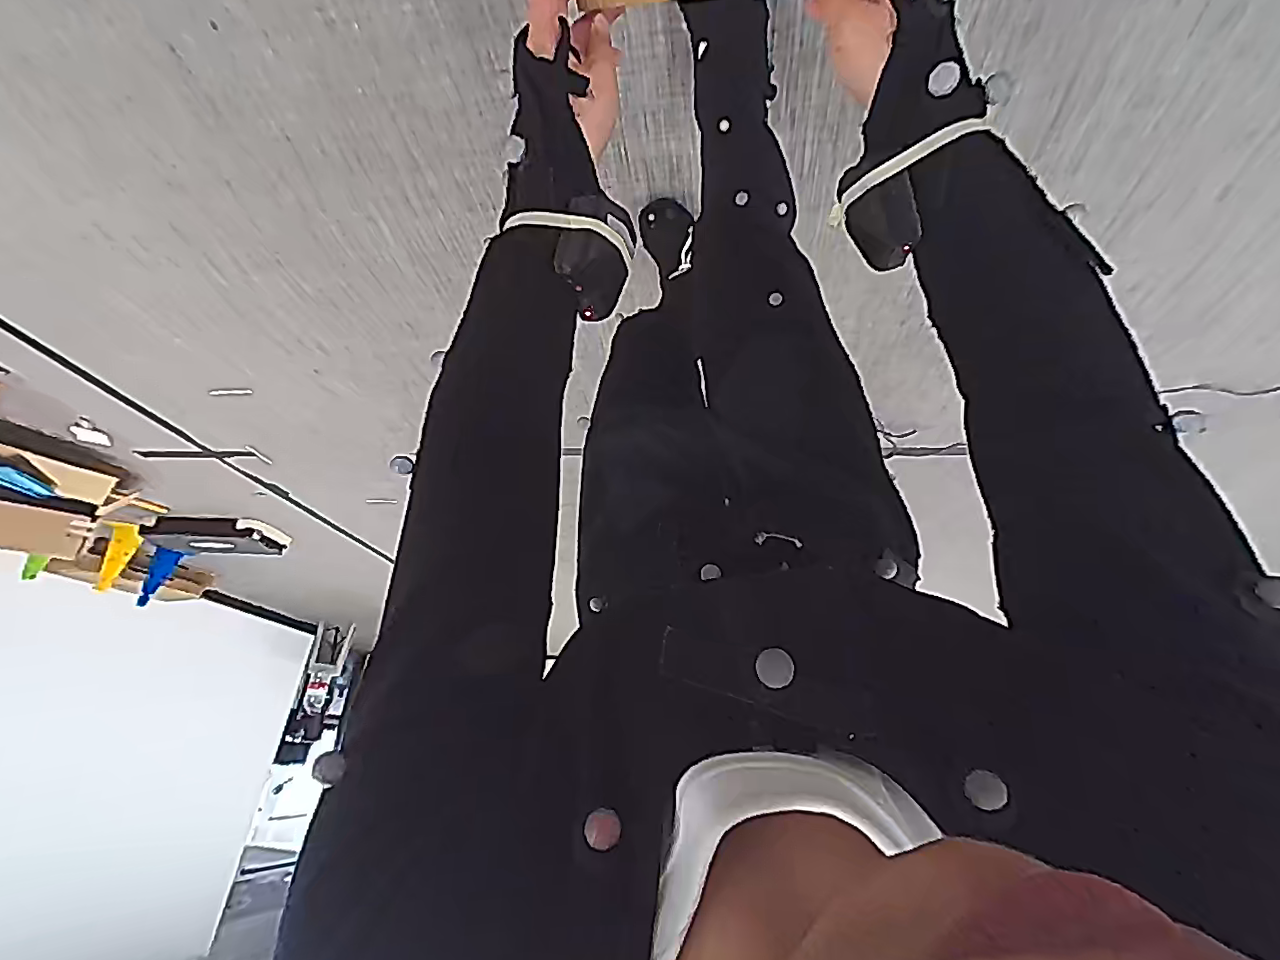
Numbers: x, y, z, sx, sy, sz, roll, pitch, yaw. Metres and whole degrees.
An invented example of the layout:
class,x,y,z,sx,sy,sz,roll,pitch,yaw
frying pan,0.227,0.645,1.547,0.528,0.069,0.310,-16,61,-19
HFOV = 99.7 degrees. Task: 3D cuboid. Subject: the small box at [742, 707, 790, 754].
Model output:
class,x,y,z,sx,sy,sz,roll,pitch,yaw
small box,0.522,1.044,2.252,0.179,0.176,0.168,0,152,8
